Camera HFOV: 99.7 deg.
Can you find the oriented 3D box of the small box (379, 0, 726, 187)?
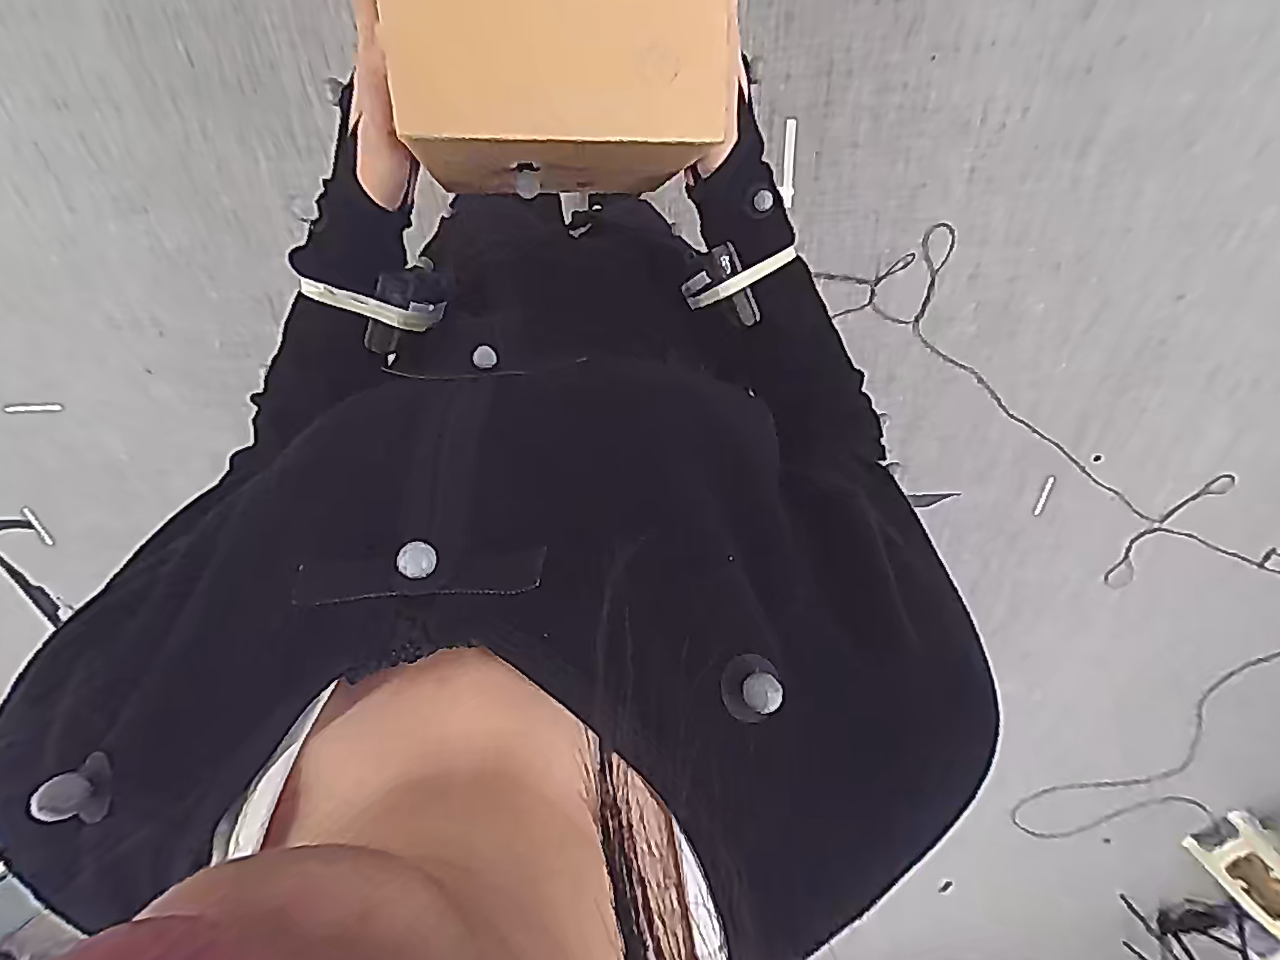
[{"bbox_3d":[-0.052,-0.282,0.318,0.168,0.176,0.179,-5,109,-10],"label":"small box"}]
